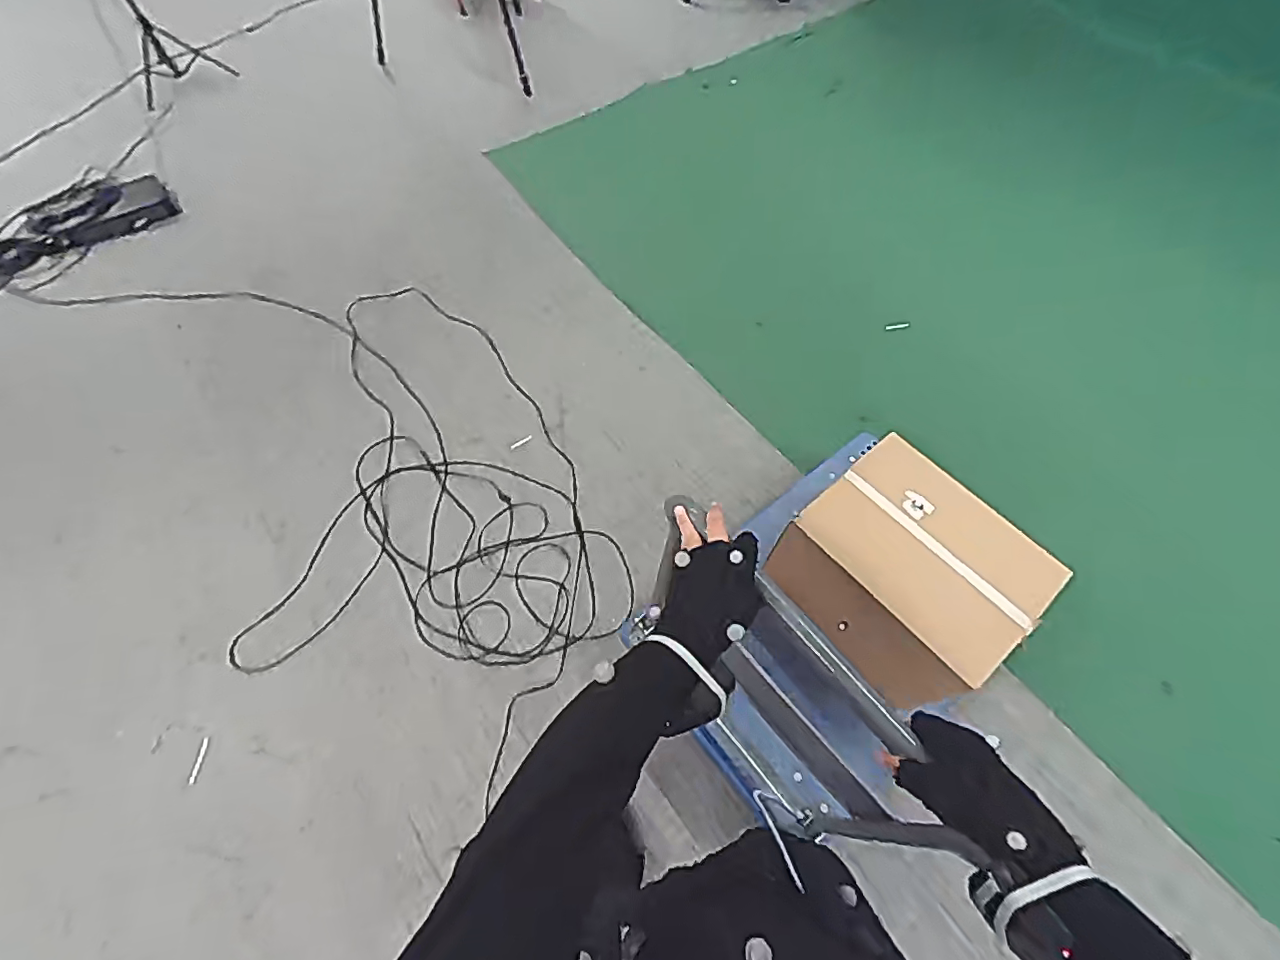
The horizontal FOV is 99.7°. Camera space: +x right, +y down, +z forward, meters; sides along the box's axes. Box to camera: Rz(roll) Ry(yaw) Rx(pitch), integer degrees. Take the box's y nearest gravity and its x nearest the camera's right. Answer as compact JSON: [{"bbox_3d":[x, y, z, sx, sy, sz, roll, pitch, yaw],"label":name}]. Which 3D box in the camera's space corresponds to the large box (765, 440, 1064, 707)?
[{"bbox_3d":[0.535,0.202,1.140,0.320,0.320,0.408,-37,67,-19],"label":"large box"}]
